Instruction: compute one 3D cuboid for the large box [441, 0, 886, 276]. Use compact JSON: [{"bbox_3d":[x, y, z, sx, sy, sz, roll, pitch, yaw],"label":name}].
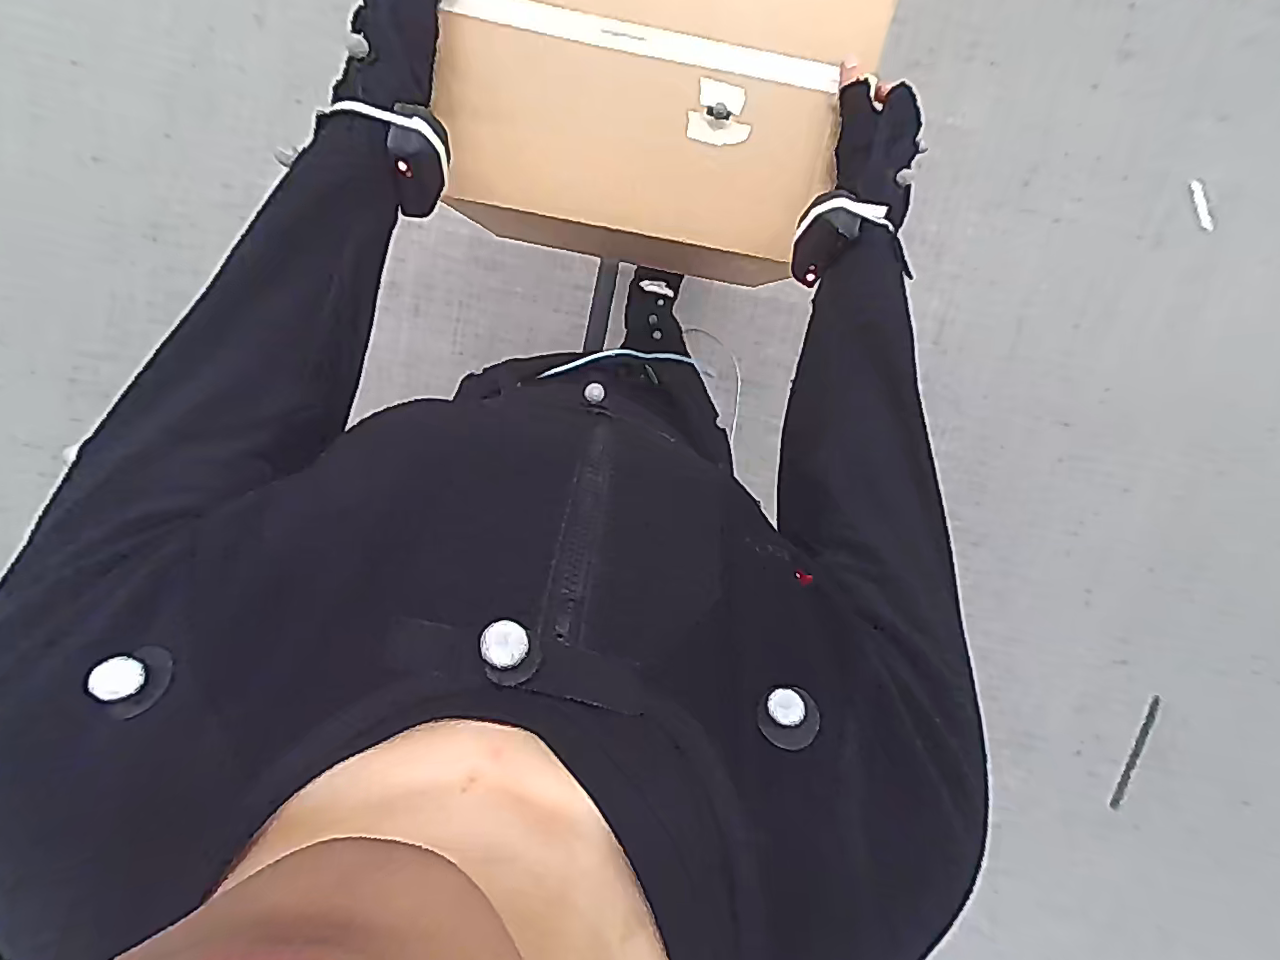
[{"bbox_3d":[0.014,-0.447,0.647,0.408,0.320,0.320,9,107,-5],"label":"large box"}]
